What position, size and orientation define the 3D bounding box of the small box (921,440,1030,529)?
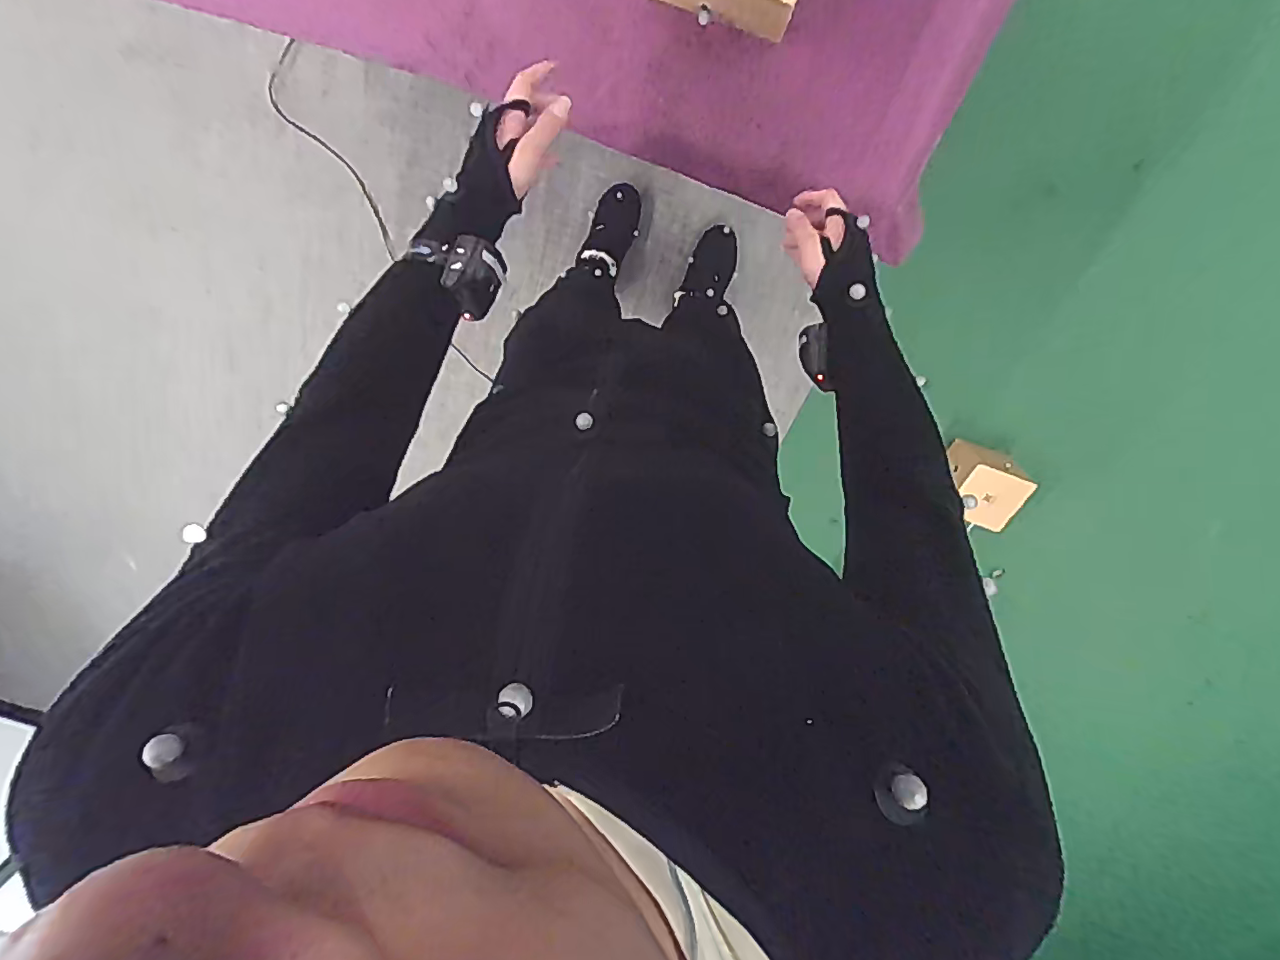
[{"bbox_3d":[0.938,0.005,1.535,0.179,0.176,0.168,19,120,-4],"label":"small box"}]
